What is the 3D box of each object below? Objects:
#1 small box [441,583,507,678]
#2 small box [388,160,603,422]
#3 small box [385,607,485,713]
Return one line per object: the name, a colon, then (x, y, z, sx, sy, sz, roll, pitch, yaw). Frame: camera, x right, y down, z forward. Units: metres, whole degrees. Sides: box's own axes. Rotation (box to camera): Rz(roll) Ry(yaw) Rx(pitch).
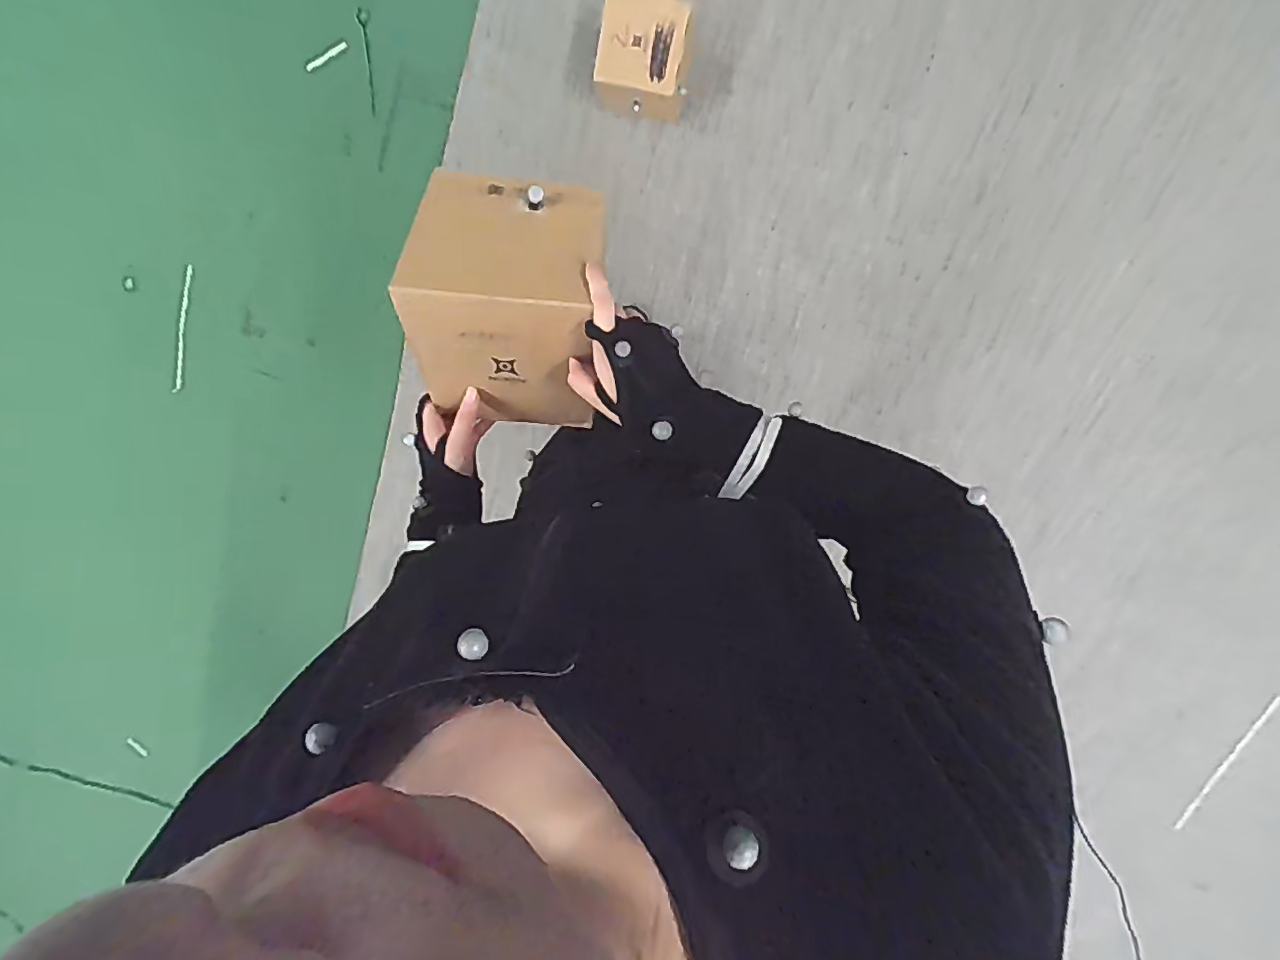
small box: (-0.513, 0.437, 1.595, 0.168, 0.176, 0.179, 29, 107, -1)
small box: (-0.127, -0.182, 0.548, 0.168, 0.176, 0.179, 5, 150, -5)
small box: (-0.535, 0.469, 1.435, 0.168, 0.176, 0.179, 25, 105, 1)
